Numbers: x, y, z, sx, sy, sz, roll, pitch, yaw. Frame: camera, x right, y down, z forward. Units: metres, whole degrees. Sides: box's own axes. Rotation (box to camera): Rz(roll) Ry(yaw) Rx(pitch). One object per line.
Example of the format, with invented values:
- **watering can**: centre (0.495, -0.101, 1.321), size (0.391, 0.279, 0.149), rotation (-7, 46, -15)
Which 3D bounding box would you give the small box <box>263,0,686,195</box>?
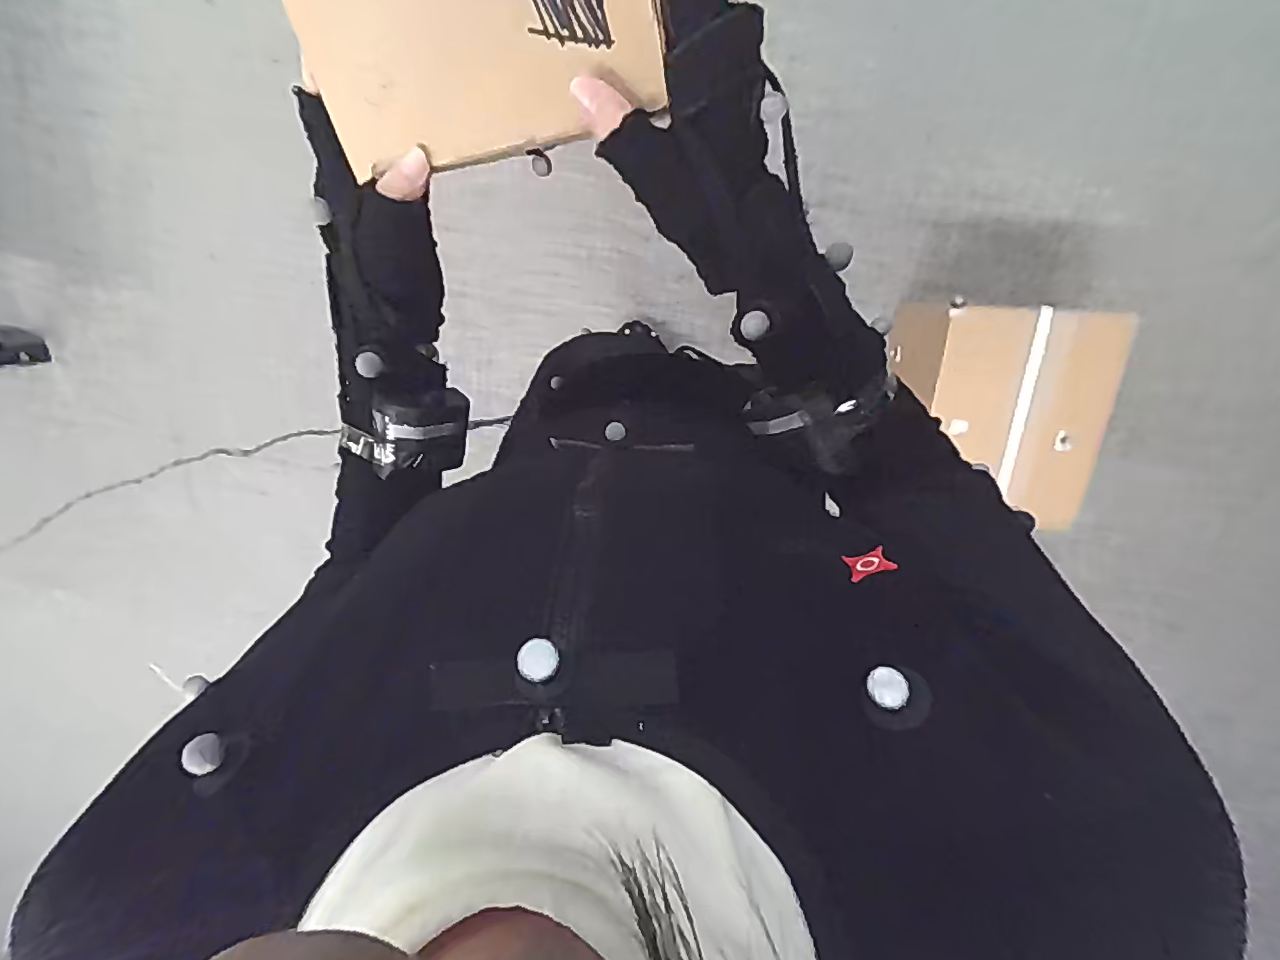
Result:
- **small box**: centre (-0.076, -0.273, 0.288), size (0.179, 0.176, 0.168), rotation (-8, 122, 16)
